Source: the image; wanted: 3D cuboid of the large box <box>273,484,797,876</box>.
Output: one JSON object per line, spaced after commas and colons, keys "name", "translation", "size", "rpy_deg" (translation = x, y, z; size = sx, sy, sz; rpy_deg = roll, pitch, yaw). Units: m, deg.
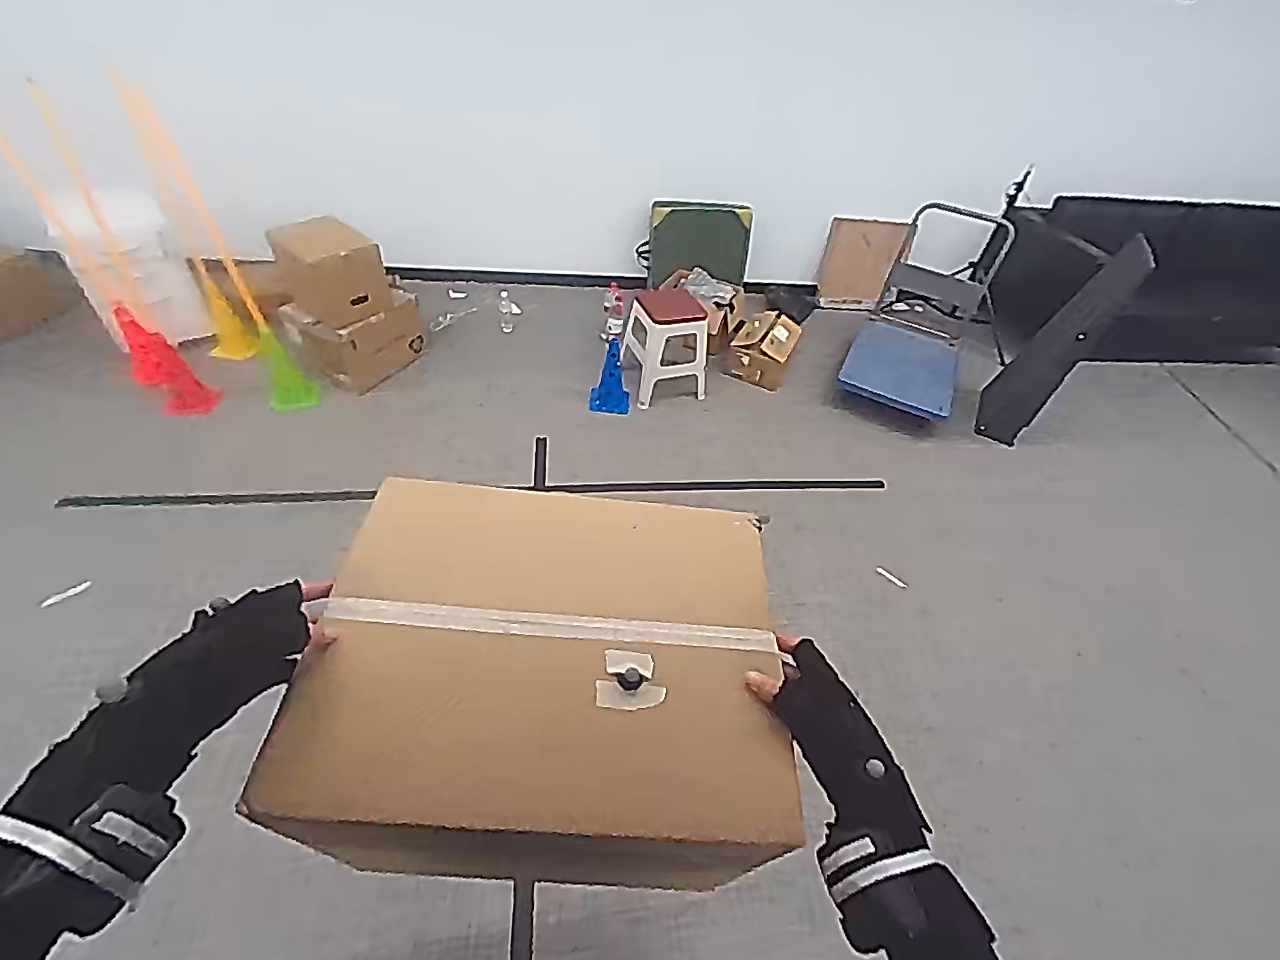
{"name": "large box", "translation": [-0.089, 0.235, 0.614], "size": [0.408, 0.320, 0.320], "rpy_deg": [7, 48, -4]}
